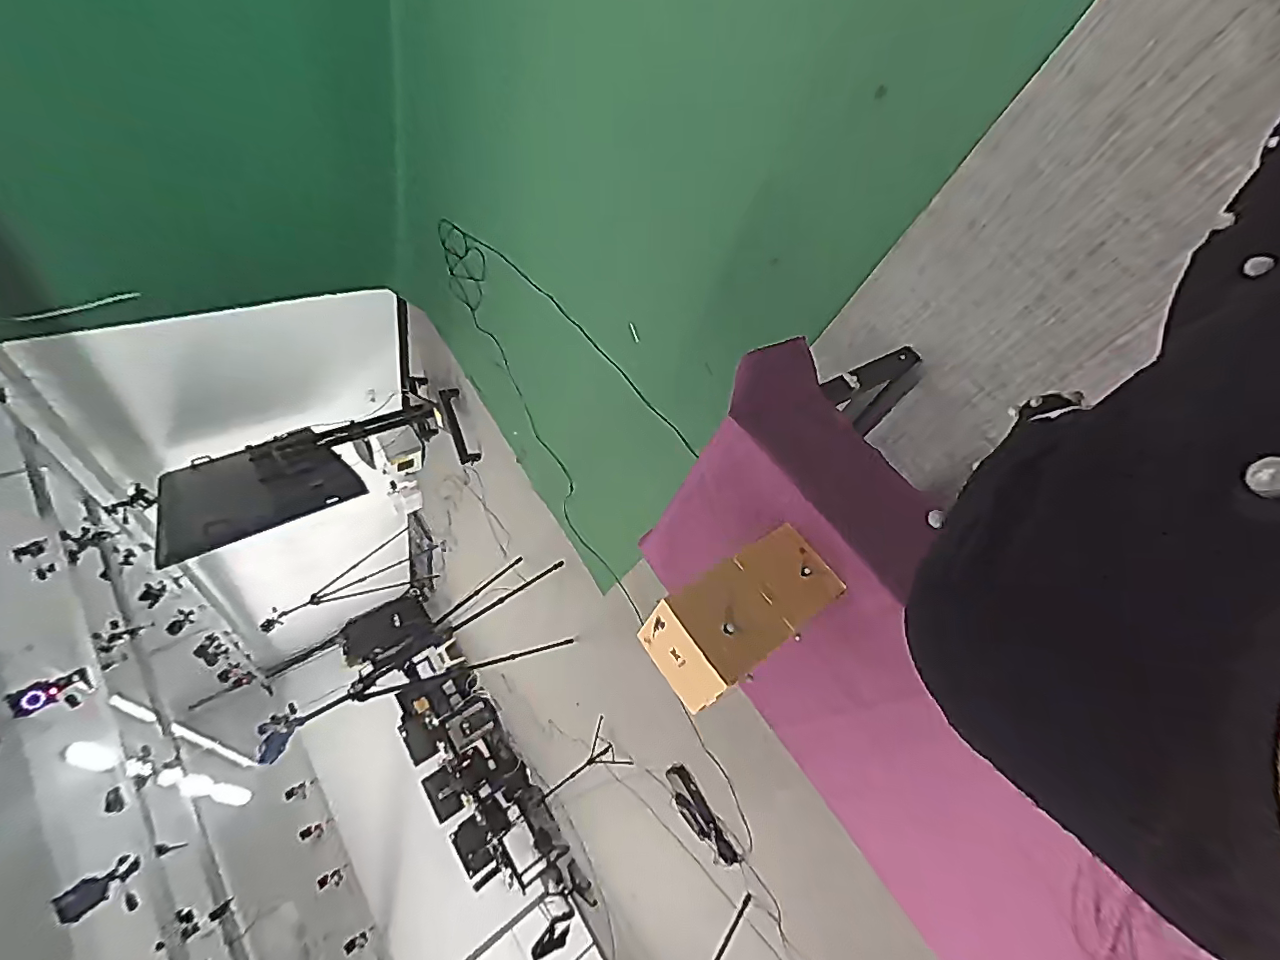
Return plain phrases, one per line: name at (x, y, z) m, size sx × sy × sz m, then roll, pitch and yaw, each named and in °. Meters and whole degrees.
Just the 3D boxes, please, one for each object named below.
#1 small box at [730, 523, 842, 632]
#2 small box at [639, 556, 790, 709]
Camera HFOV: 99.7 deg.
small box at (0.258, 0.214, 1.059) m, size 0.168 × 0.176 × 0.179 m, roll 51°, pitch 144°, yaw 21°
small box at (0.132, 0.268, 0.968) m, size 0.179 × 0.176 × 0.168 m, roll 50°, pitch 143°, yaw 21°
